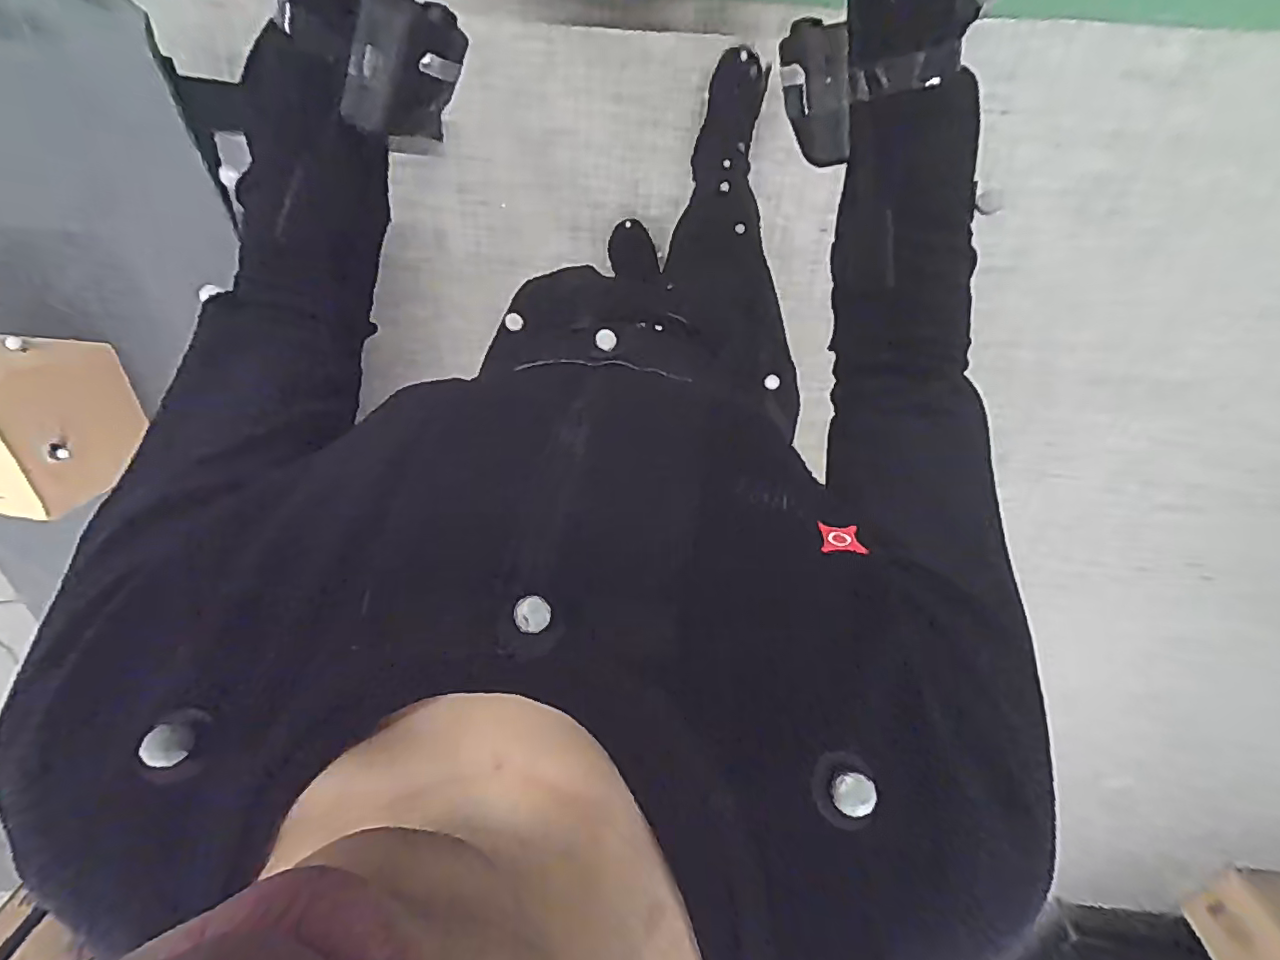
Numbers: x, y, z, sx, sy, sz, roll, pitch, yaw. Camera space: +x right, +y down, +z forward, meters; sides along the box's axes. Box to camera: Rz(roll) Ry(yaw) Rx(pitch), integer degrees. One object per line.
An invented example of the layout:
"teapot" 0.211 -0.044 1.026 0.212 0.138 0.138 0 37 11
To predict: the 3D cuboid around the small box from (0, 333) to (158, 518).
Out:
"small box" -0.793 -0.075 0.701 0.168 0.176 0.179 5 121 3
